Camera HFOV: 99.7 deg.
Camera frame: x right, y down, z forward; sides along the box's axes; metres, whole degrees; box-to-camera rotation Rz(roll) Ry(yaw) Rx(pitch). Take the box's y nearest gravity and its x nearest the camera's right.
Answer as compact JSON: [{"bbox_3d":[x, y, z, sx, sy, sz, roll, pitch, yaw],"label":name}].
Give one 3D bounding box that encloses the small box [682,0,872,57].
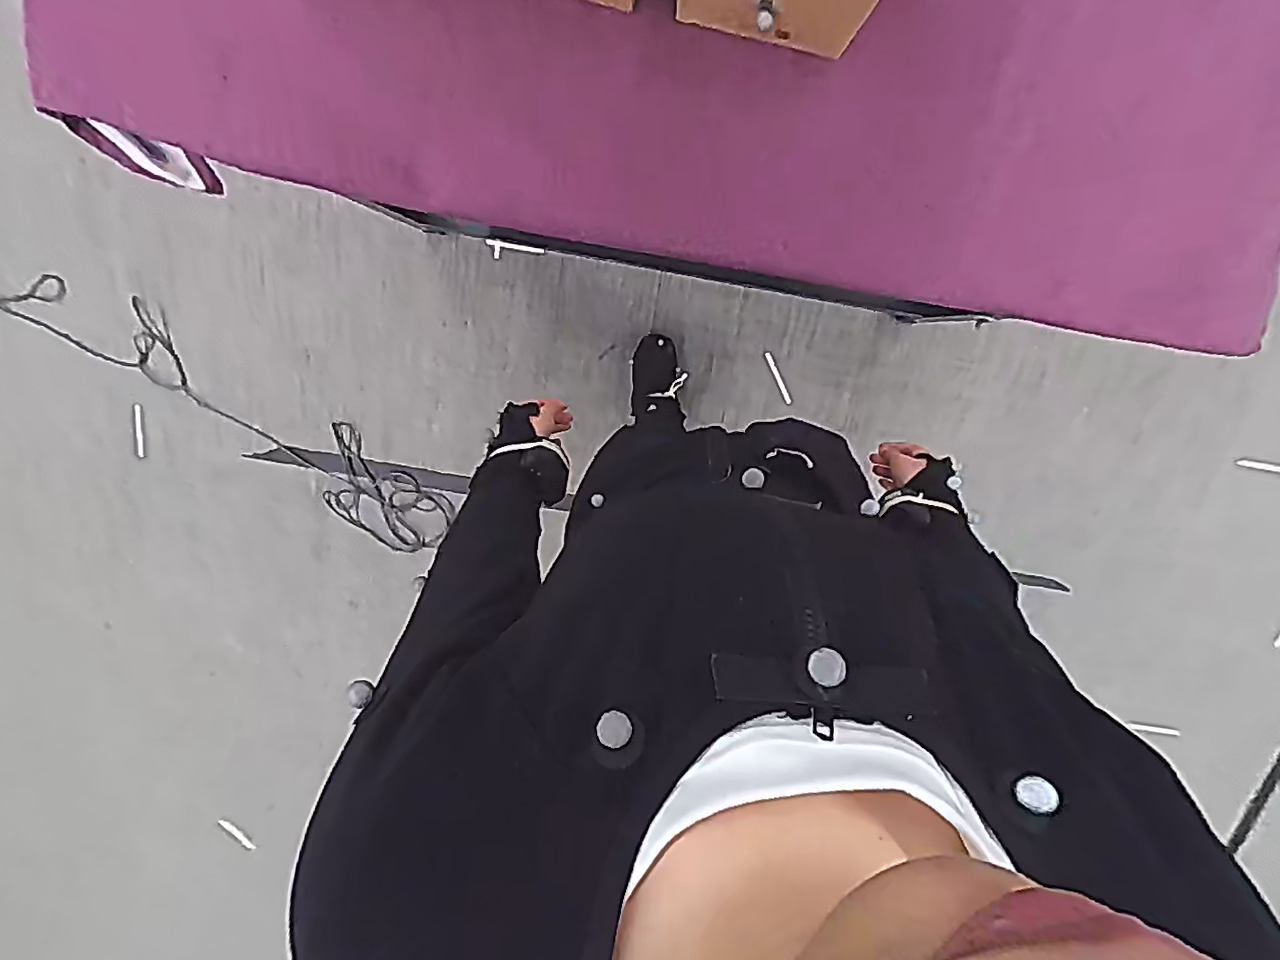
[{"bbox_3d":[0.130,-0.490,0.428,0.168,0.176,0.179,12,105,-2],"label":"small box"}]
